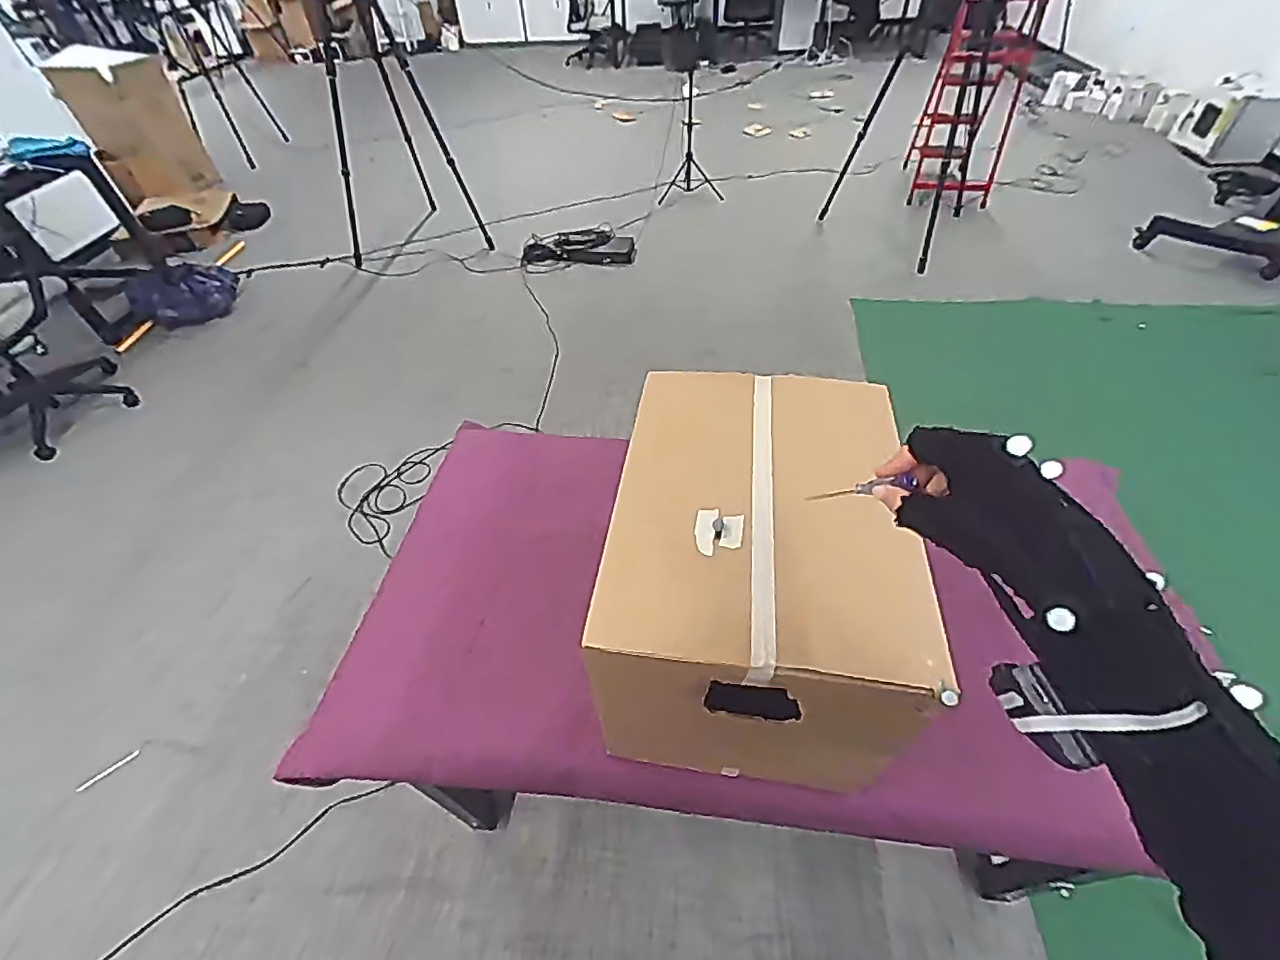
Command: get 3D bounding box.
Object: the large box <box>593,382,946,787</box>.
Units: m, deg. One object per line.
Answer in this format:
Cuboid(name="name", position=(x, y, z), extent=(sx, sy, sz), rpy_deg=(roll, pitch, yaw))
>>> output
Cuboid(name="large box", position=(0.138, 0.124, 0.710), extent=(0.320, 0.320, 0.408), rpy_deg=(5, 48, 8))
